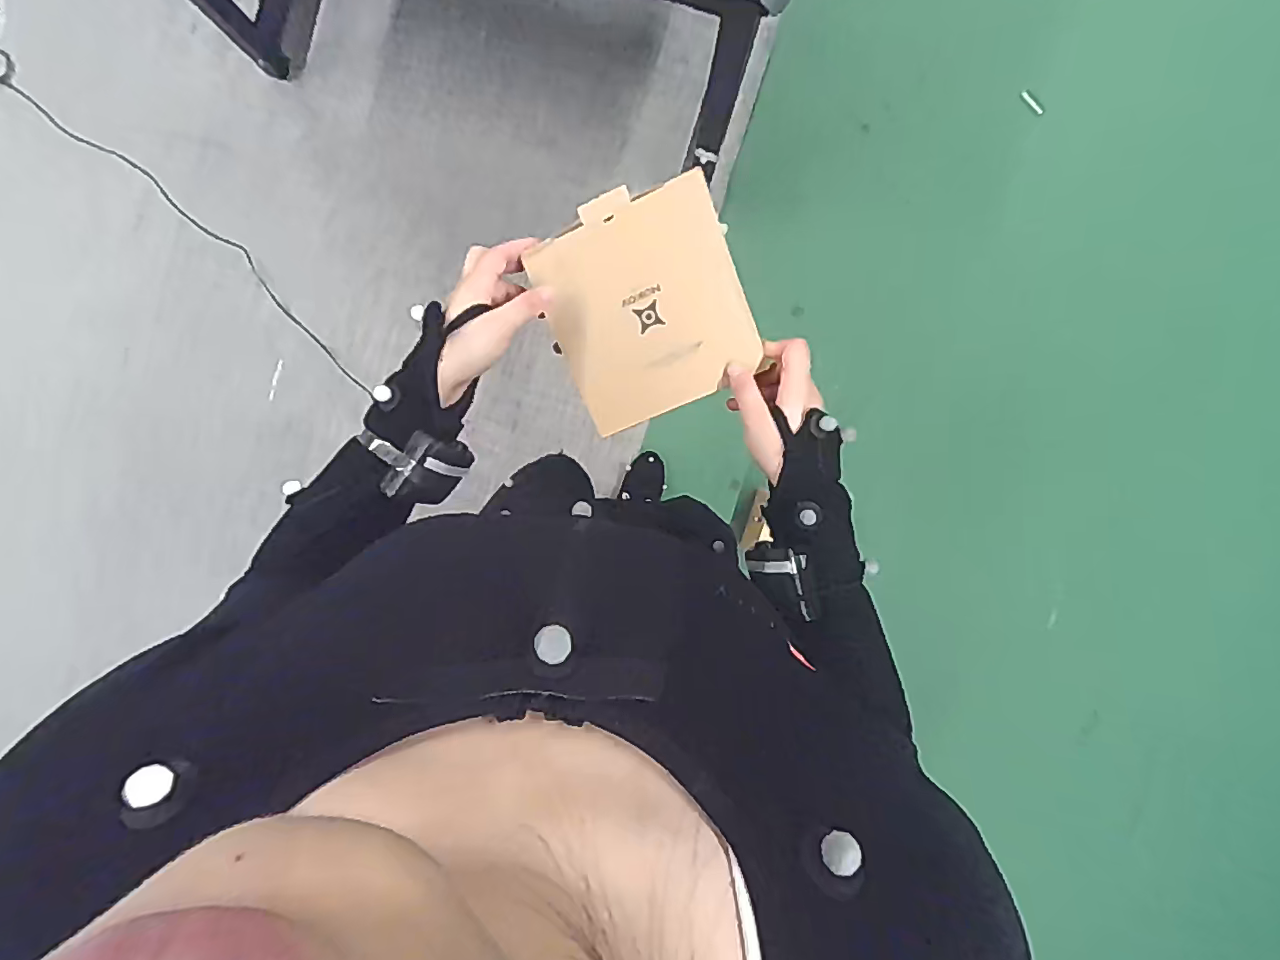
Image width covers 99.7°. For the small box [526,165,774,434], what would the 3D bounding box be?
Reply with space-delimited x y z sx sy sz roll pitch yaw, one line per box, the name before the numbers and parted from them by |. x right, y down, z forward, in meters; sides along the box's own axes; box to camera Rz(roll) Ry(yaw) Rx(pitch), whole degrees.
small box | 0.013 -0.169 0.538 0.168 0.176 0.179 -23 105 10

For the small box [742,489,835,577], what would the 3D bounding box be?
small box | 0.378 0.130 1.412 0.168 0.176 0.179 17 95 -2
